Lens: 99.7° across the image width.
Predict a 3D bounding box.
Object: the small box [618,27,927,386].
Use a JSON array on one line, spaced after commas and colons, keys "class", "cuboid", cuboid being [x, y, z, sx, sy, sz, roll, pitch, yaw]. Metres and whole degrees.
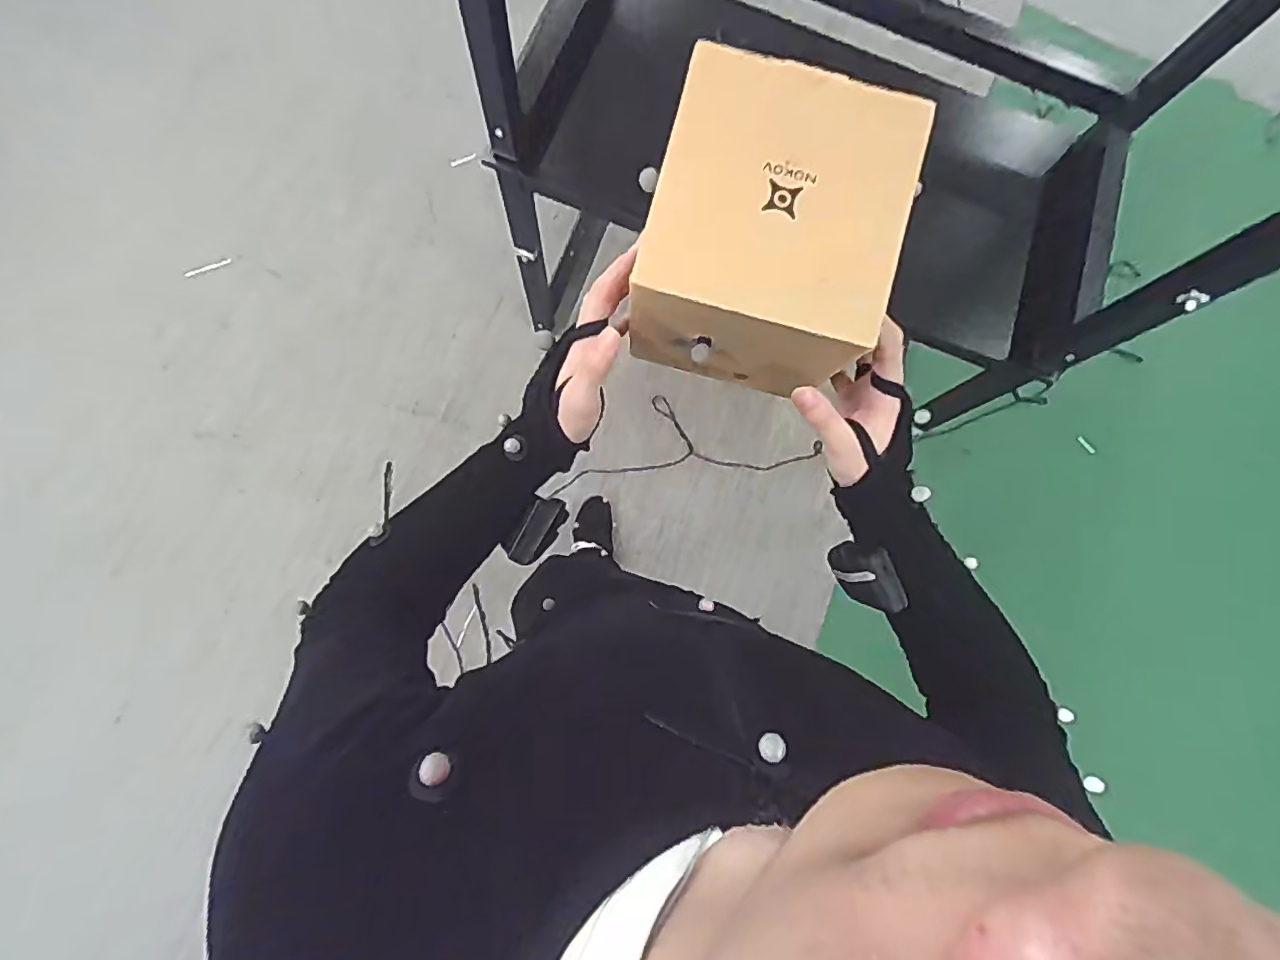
[{"class": "small box", "cuboid": [0.087, -0.189, 0.427, 0.168, 0.176, 0.179, 15, 86, 1]}]
